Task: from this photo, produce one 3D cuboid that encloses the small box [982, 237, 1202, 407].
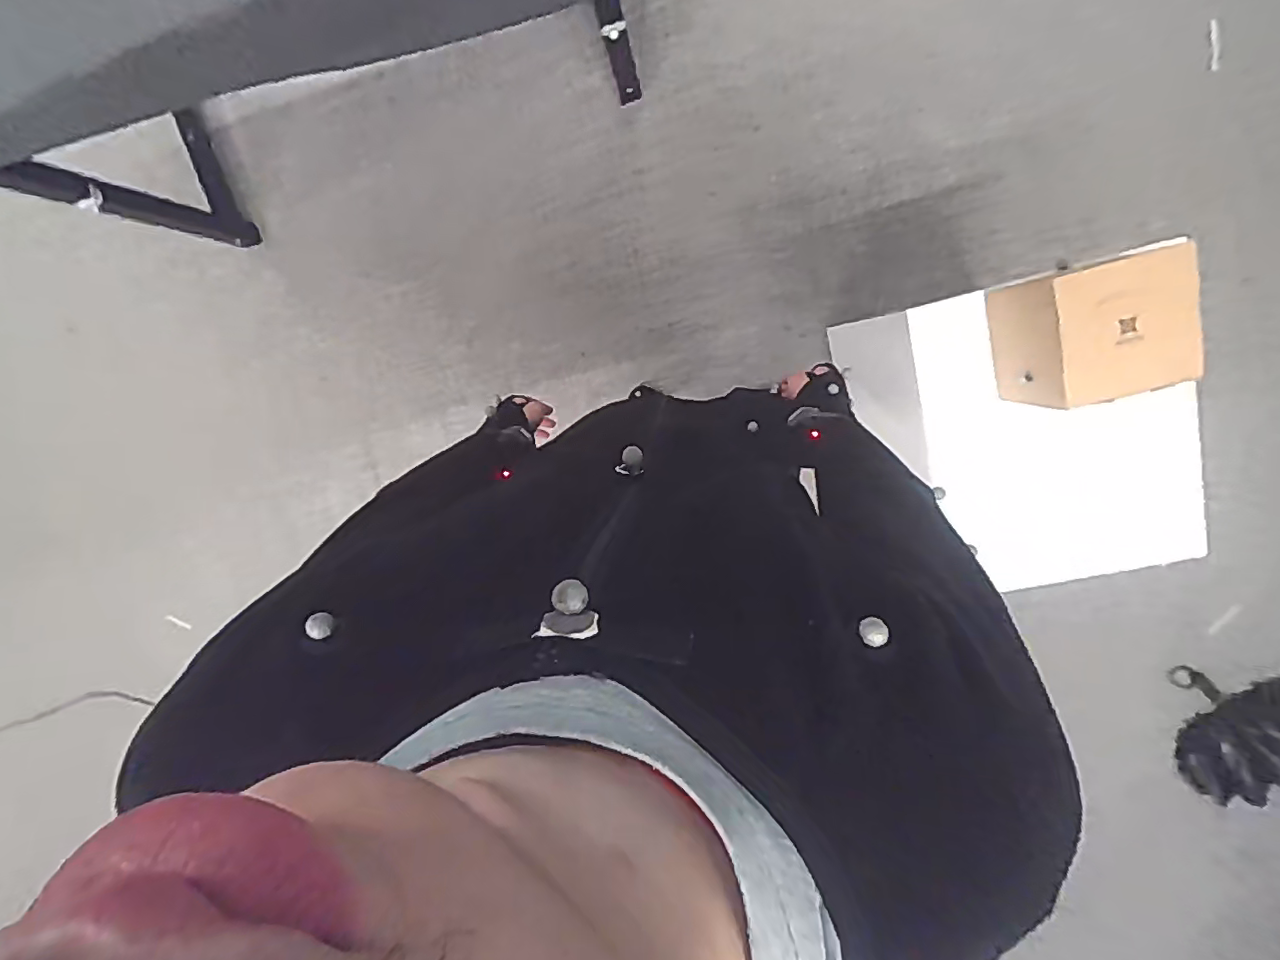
[{"bbox_3d":[0.624,-0.215,0.765,0.168,0.176,0.179,-16,100,5],"label":"small box"}]
